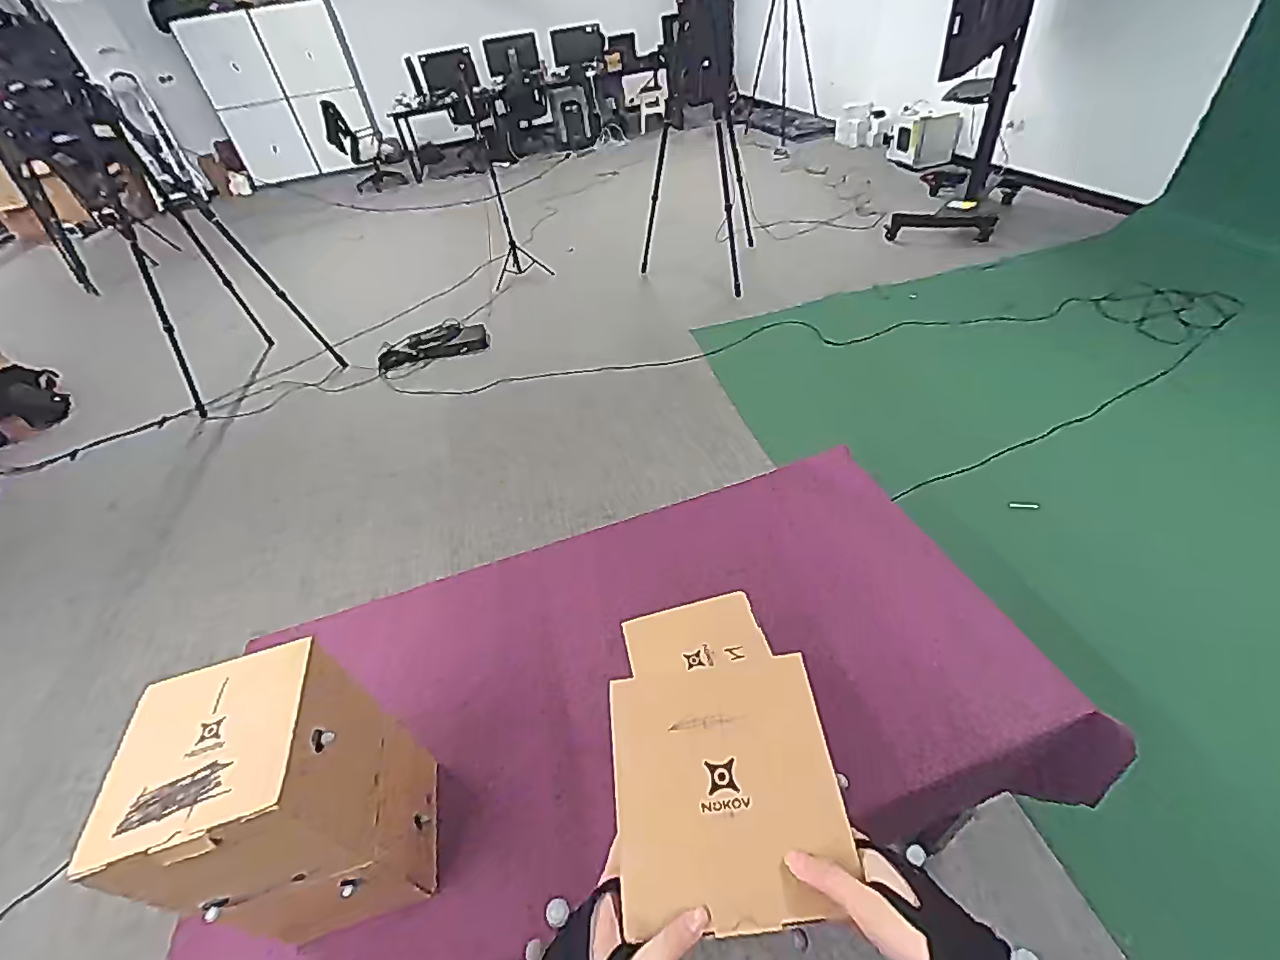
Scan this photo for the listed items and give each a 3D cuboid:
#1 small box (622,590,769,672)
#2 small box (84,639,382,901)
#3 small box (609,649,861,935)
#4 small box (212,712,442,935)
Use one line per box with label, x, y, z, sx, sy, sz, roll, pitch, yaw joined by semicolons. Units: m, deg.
small box;0.086;0.281;0.731;0.179;0.176;0.168;-14;43;-3
small box;-0.391;0.305;0.566;0.168;0.176;0.179;-17;41;-7
small box;0.074;0.270;0.471;0.168;0.176;0.179;-10;52;4
small box;-0.365;0.428;0.673;0.179;0.176;0.168;-16;42;-7
